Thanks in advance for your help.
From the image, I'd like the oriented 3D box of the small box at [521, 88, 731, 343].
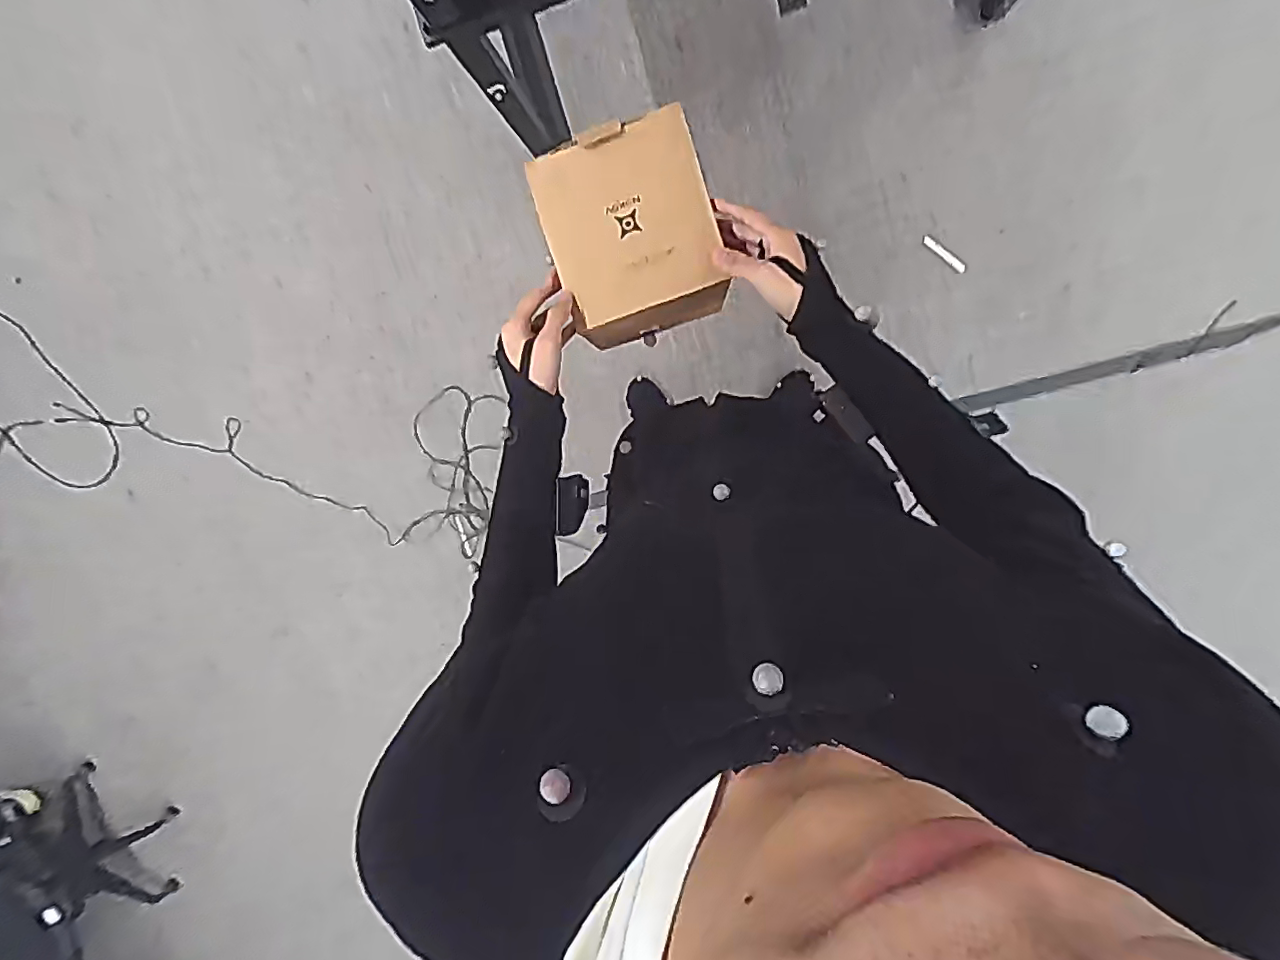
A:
[{"bbox_3d":[-0.009,-0.269,0.596,0.168,0.176,0.179,-17,94,6],"label":"small box"}]
